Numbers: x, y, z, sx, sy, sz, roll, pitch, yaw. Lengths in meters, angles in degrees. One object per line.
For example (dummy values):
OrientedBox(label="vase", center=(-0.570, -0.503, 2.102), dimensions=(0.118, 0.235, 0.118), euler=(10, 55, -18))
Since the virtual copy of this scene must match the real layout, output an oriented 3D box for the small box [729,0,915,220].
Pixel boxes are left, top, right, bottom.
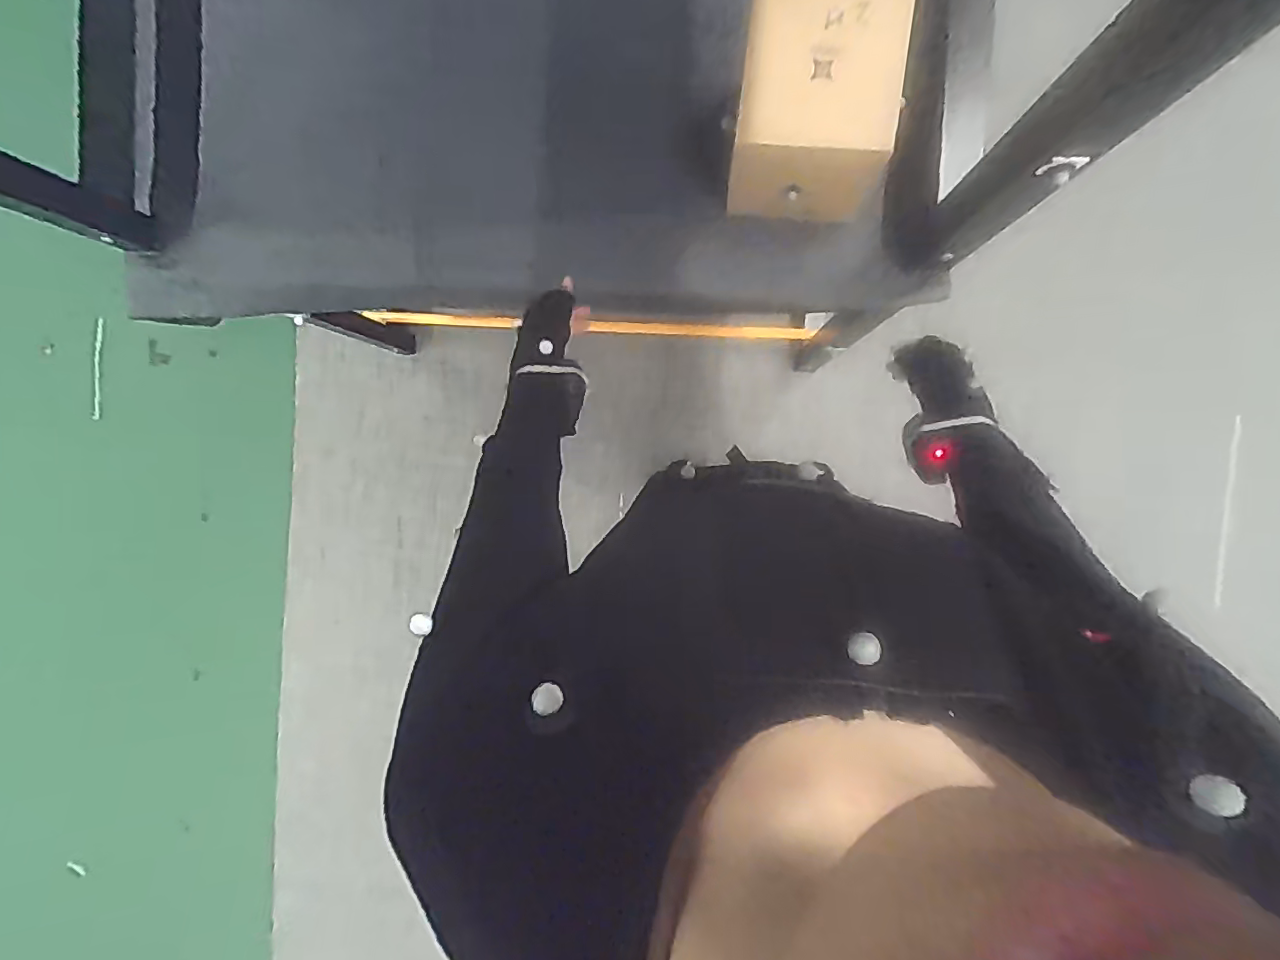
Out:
OrientedBox(label="small box", center=(0.201, -0.435, 0.646), dimensions=(0.168, 0.176, 0.179), euler=(7, 92, 5))
